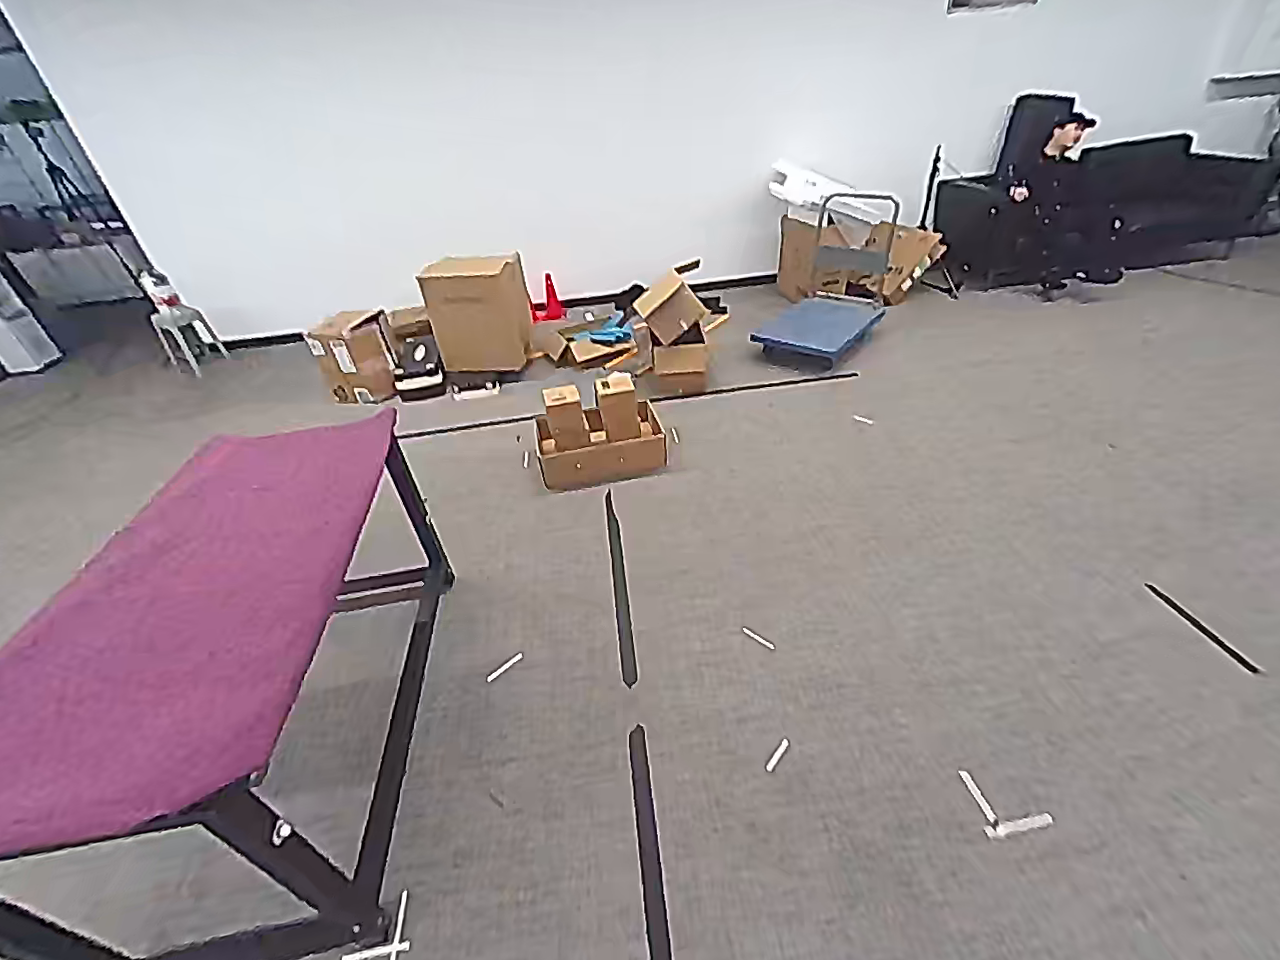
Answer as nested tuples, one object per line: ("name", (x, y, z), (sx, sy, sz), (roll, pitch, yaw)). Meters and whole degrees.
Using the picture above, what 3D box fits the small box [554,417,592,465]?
("small box", (-0.342, -0.197, 2.726), (0.179, 0.176, 0.168), (-11, 35, -9))

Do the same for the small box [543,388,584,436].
("small box", (-0.370, -0.323, 2.622), (0.168, 0.176, 0.179), (-11, 35, -10))

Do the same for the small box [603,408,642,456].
("small box", (-0.090, -0.244, 2.760), (0.168, 0.176, 0.179), (-12, 36, -6))
